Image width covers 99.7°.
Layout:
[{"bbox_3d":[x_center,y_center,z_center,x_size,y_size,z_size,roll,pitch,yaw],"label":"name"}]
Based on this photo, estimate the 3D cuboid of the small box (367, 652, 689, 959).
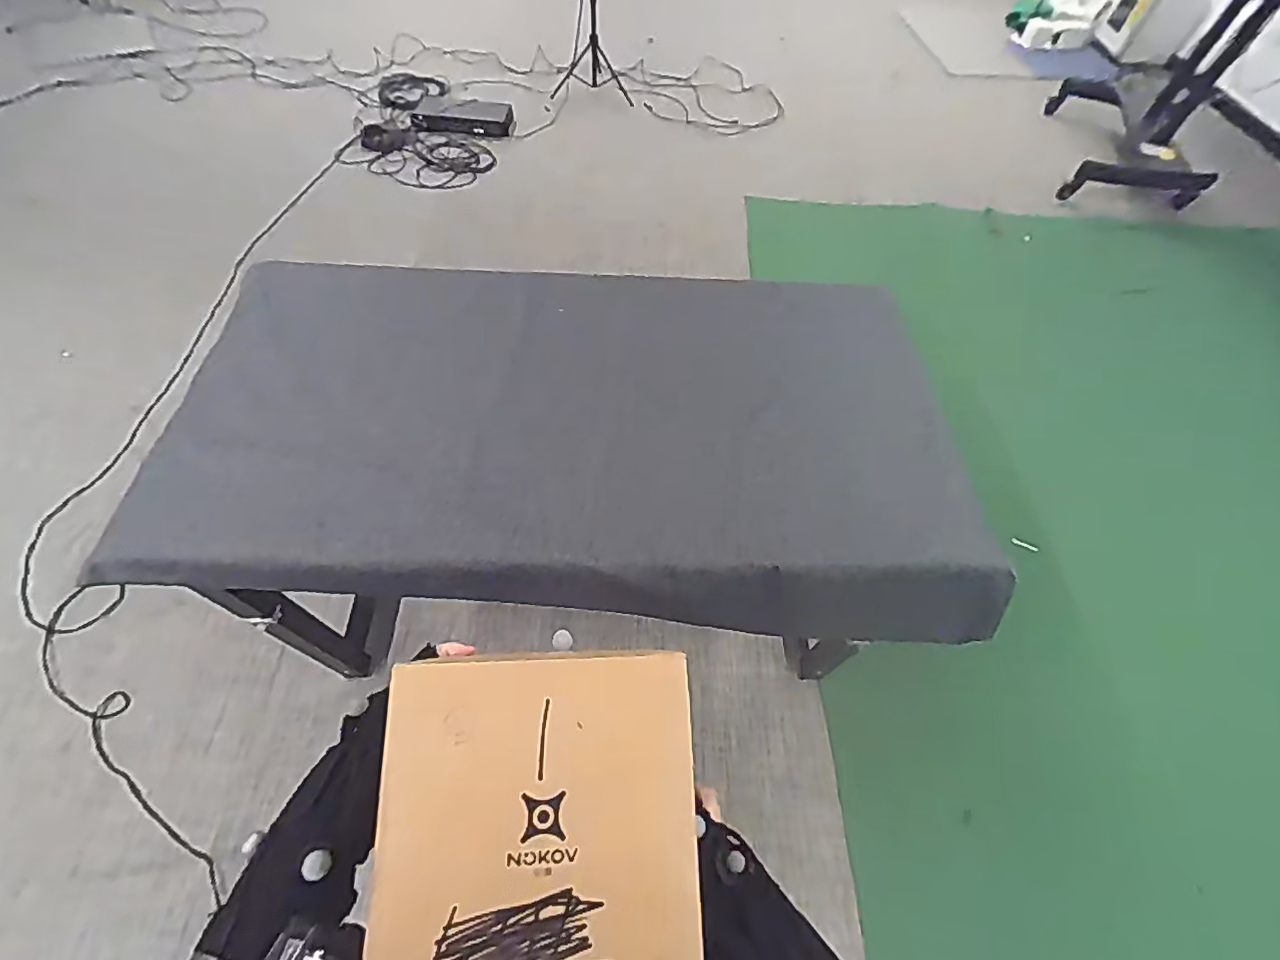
[{"bbox_3d":[-0.062,0.211,0.367,0.168,0.176,0.179,1,72,-6],"label":"small box"}]
